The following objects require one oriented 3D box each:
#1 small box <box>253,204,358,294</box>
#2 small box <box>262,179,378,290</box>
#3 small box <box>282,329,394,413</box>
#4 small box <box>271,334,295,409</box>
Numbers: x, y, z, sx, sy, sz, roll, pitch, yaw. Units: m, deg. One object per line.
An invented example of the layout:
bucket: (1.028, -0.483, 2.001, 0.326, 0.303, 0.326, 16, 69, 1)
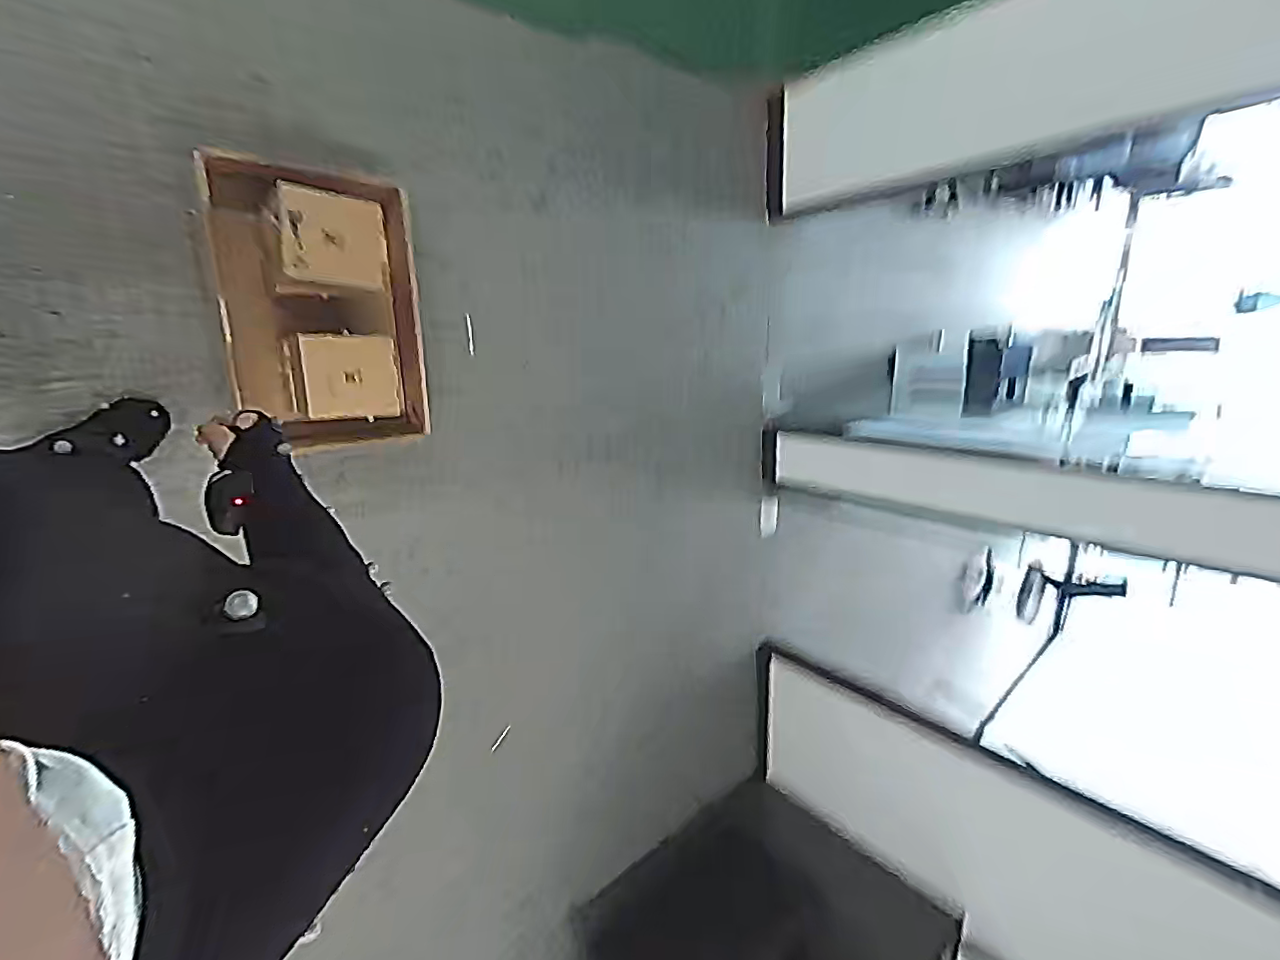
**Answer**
small box: (-0.768, -0.518, 1.237, 0.179, 0.176, 0.168, -13, 110, -39)
small box: (-0.660, -0.493, 1.114, 0.179, 0.176, 0.168, -5, 103, -42)
small box: (-0.660, -0.237, 1.181, 0.179, 0.176, 0.168, -10, 105, -39)
small box: (-0.769, -0.263, 1.300, 0.179, 0.176, 0.168, -13, 108, -39)
